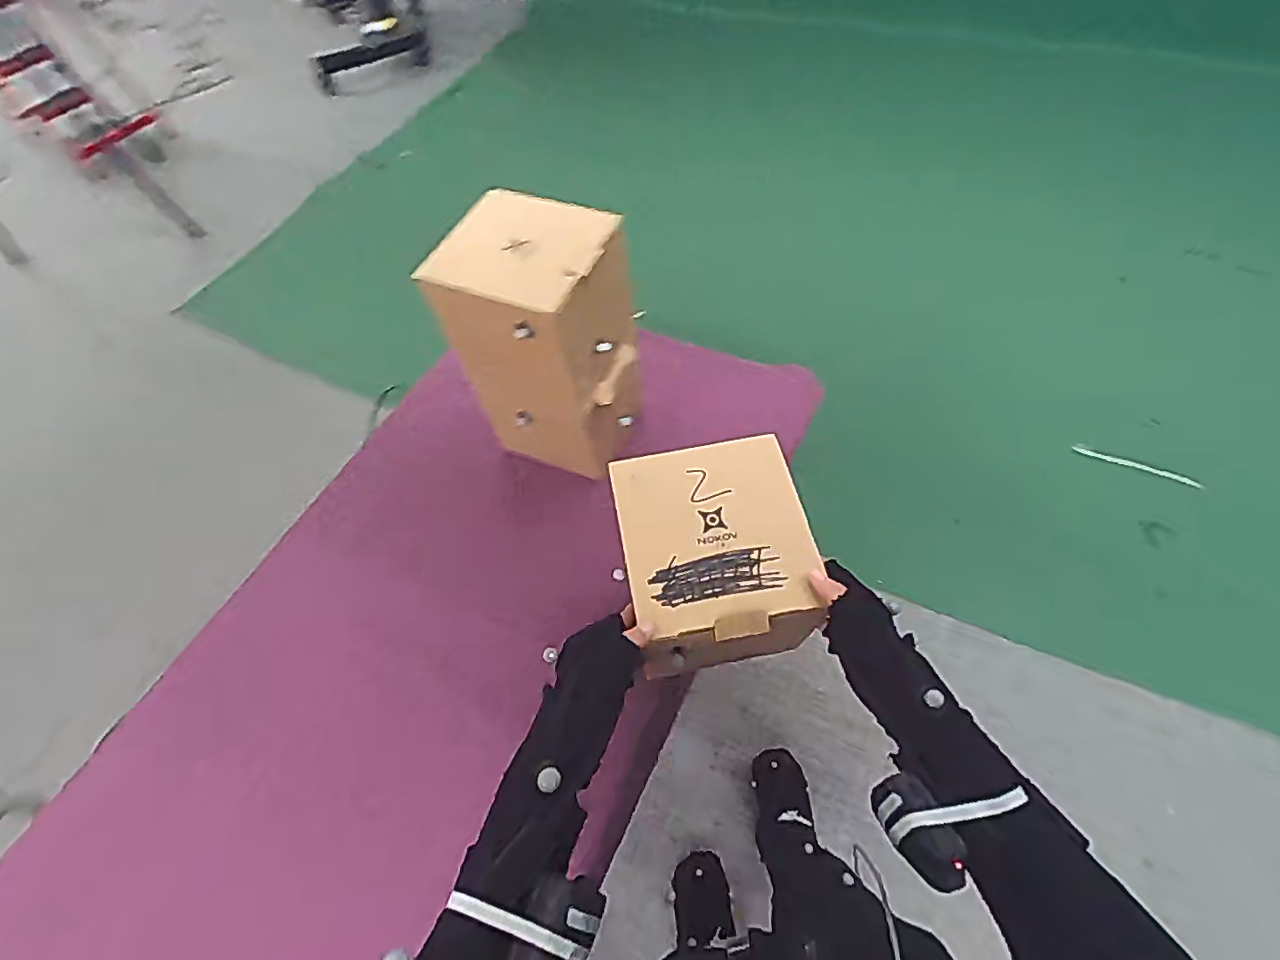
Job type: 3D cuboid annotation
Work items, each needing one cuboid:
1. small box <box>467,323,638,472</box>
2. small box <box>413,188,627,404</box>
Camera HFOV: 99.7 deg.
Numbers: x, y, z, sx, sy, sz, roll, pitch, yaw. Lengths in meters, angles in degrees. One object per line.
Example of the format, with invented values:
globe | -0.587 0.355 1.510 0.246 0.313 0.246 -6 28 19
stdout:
small box | -0.115 -0.134 0.798 0.179 0.176 0.168 18 64 14
small box | -0.129 -0.218 0.659 0.179 0.176 0.168 19 64 14
